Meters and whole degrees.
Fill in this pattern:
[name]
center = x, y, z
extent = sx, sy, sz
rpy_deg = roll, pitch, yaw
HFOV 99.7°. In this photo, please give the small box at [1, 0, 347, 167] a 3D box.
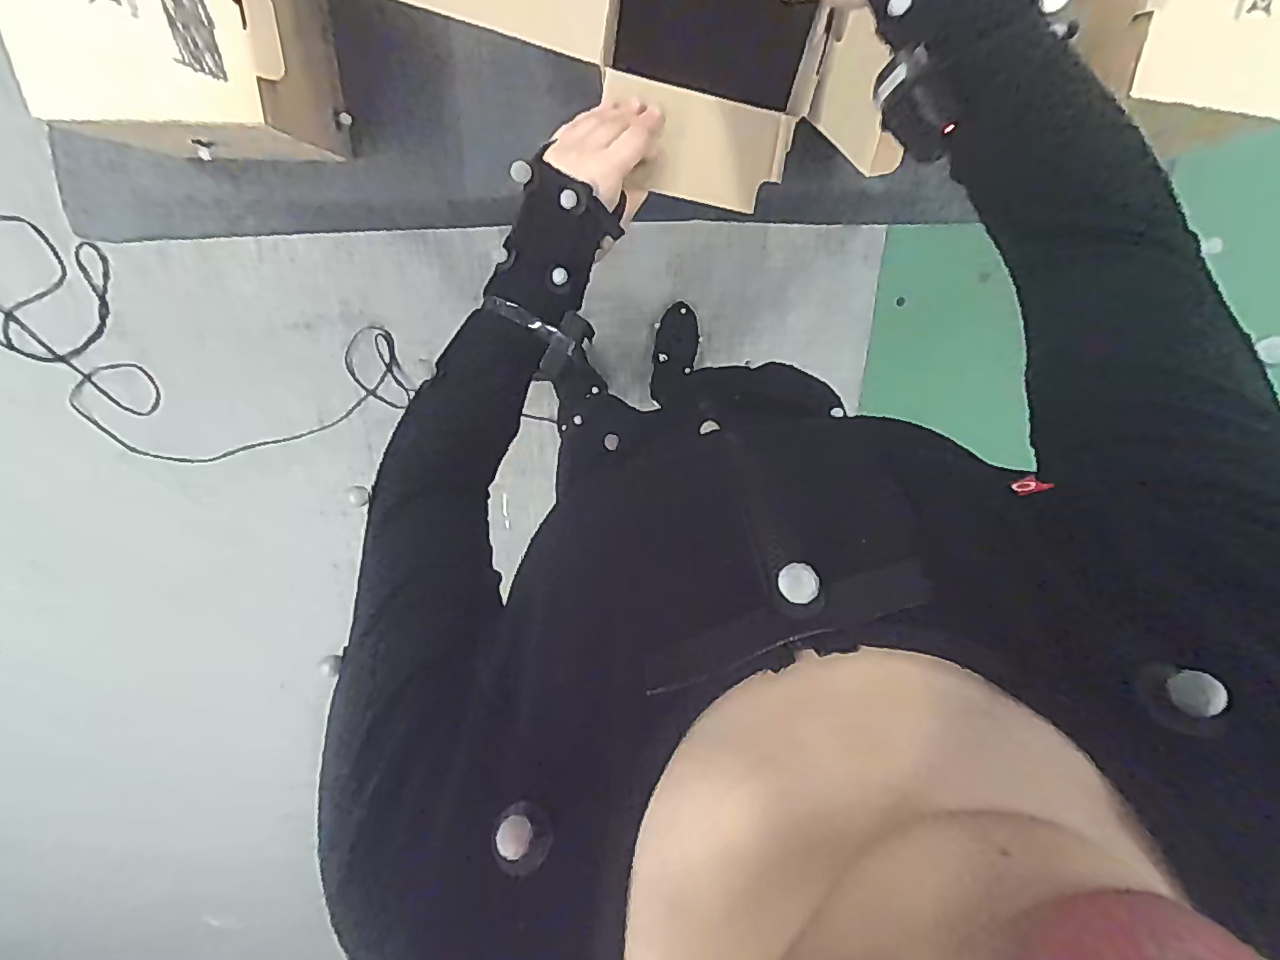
[small box]
center = -0.379, -0.379, 0.468
extent = 0.179, 0.176, 0.168
rpy_deg = -1, 112, -4
